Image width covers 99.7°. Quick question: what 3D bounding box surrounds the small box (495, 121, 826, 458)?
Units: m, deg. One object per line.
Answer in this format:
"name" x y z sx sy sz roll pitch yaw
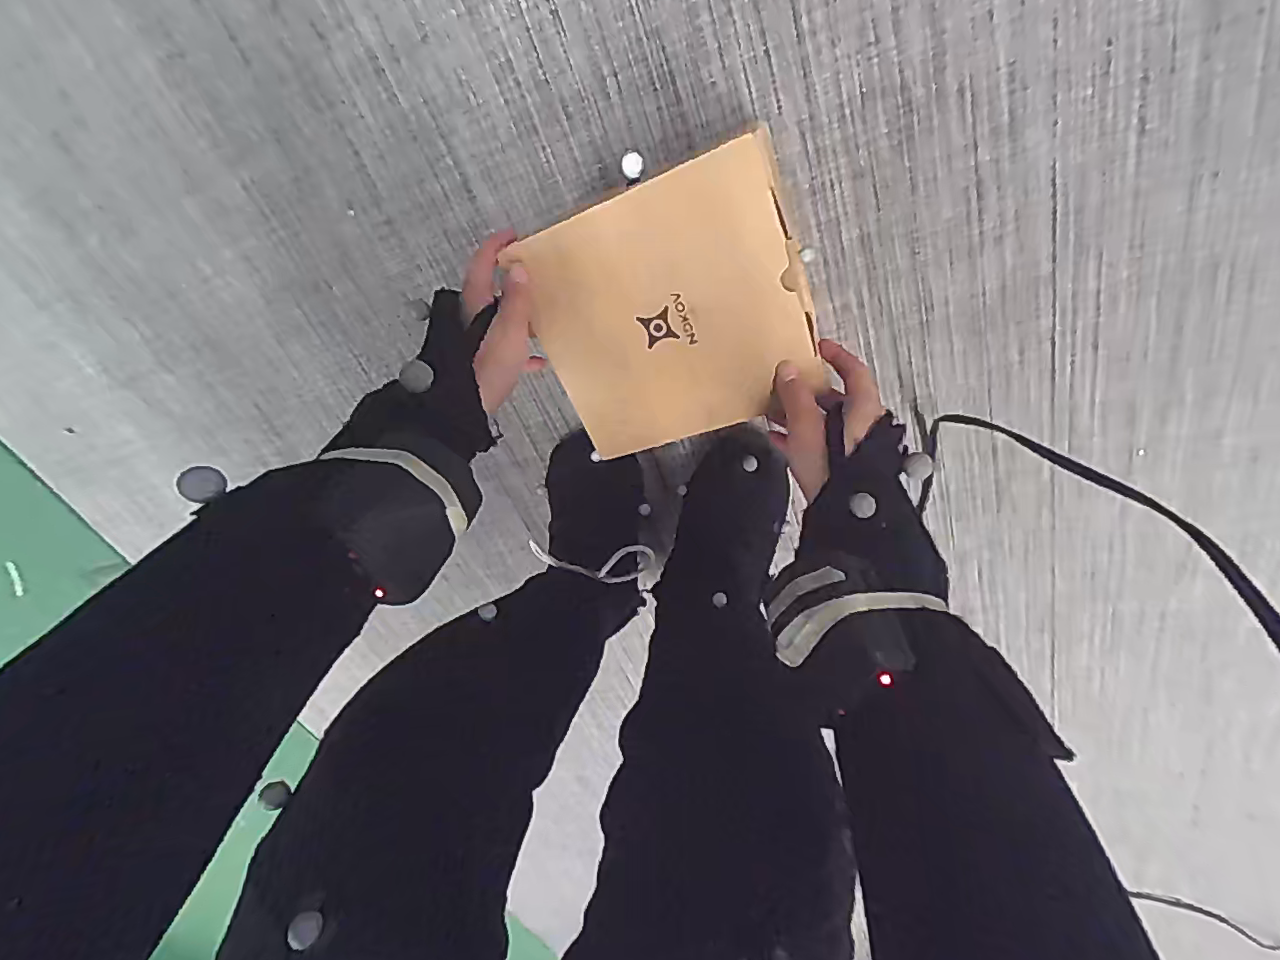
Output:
"small box" 0.030 -0.144 0.411 0.179 0.176 0.168 -15 119 21
